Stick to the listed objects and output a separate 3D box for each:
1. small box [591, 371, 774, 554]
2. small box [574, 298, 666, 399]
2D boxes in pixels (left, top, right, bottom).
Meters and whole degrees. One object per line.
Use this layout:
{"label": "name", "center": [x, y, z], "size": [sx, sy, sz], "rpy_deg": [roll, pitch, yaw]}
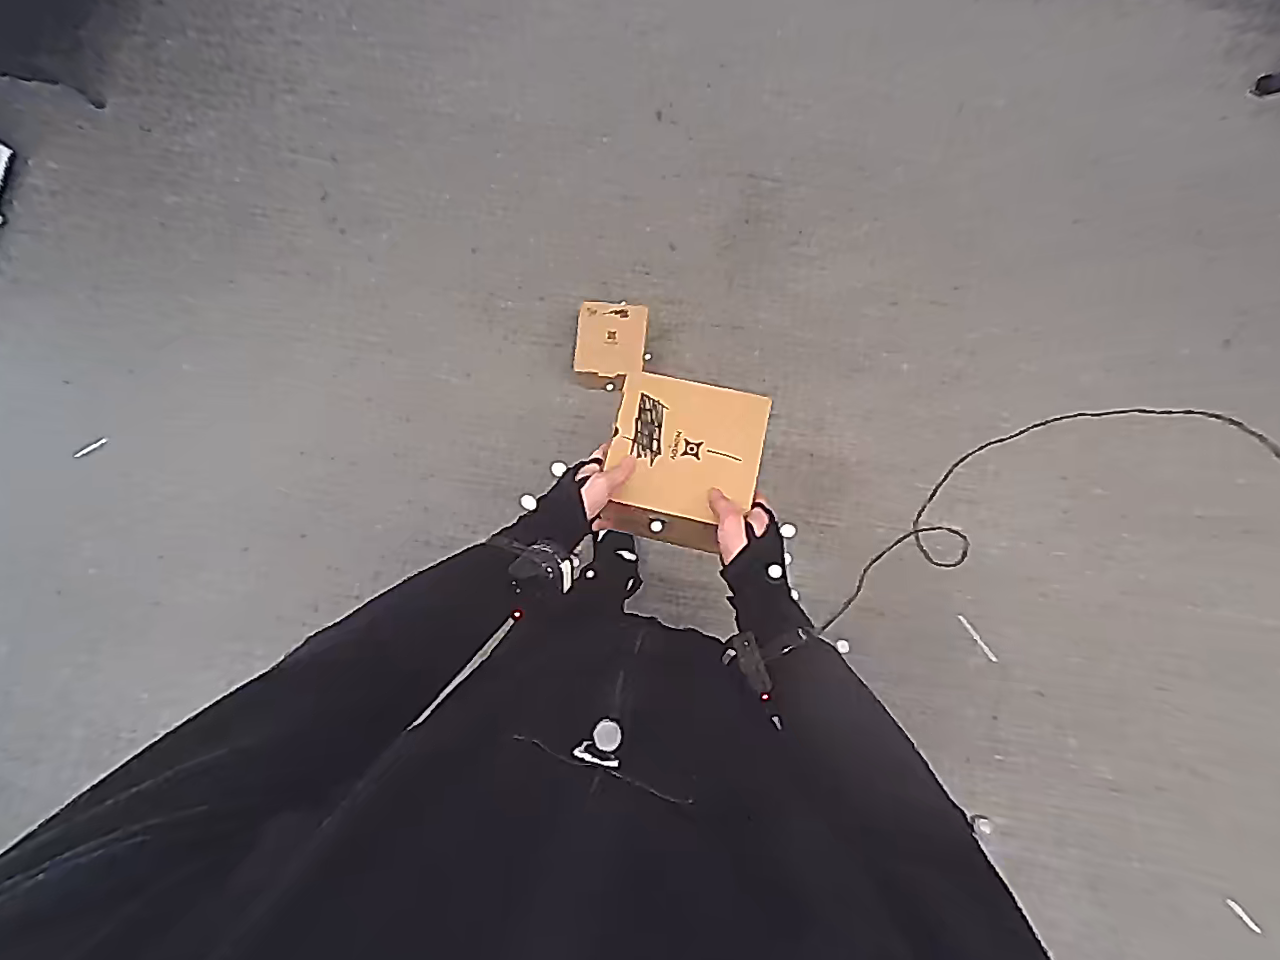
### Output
{"label": "small box", "center": [0.056, -0.013, 0.699], "size": [0.179, 0.176, 0.168], "rpy_deg": [17, 75, 9]}
{"label": "small box", "center": [-0.044, -0.327, 1.385], "size": [0.179, 0.176, 0.168], "rpy_deg": [-25, 82, 2]}
